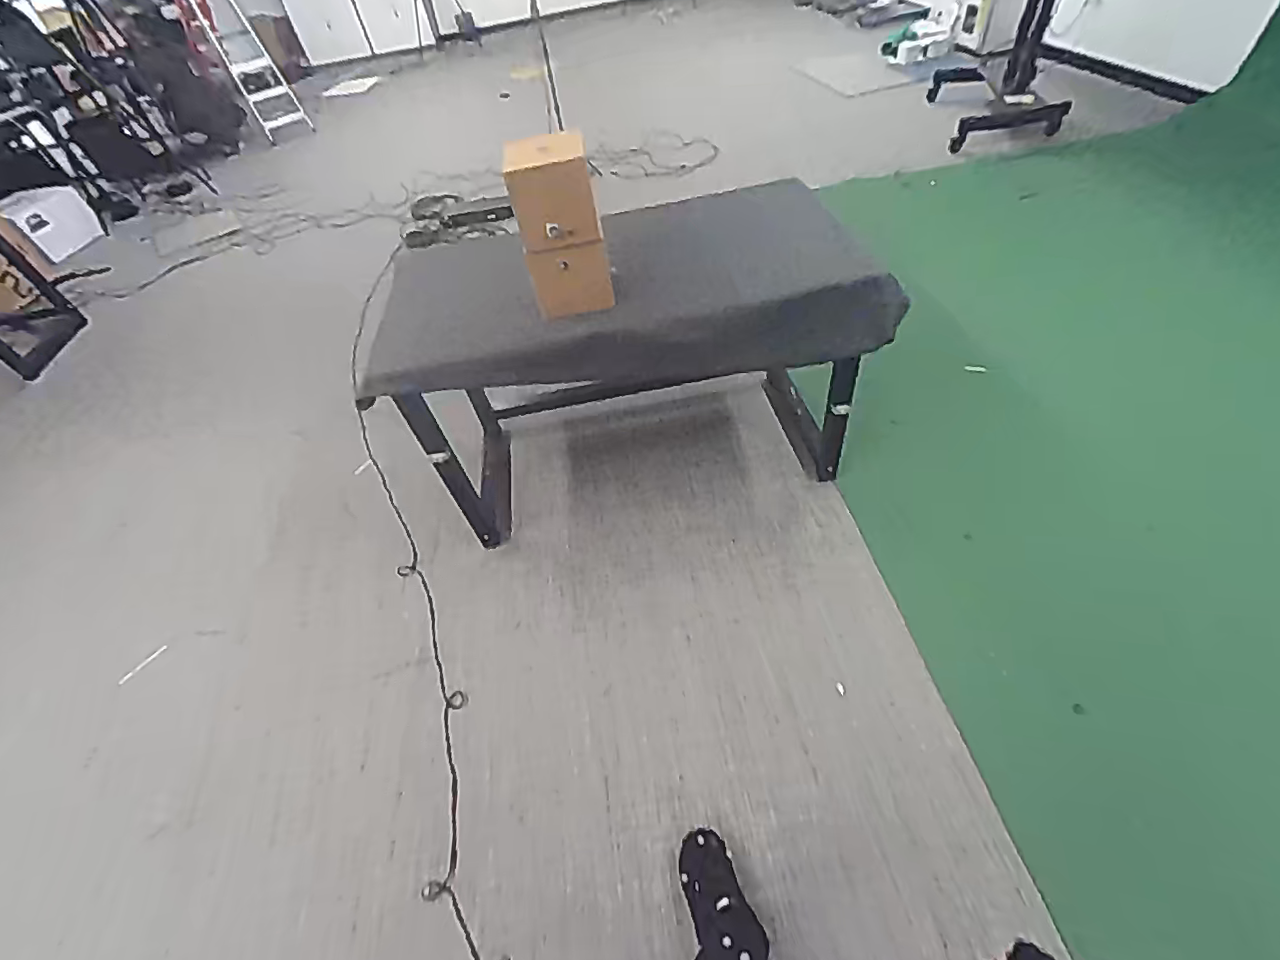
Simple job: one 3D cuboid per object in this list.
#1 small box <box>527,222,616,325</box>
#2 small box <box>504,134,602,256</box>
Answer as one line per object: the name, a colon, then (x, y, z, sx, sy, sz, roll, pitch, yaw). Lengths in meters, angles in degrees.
small box: (-0.161, -0.489, 1.288, 0.179, 0.176, 0.168, -9, 49, 0)
small box: (-0.181, -0.605, 1.154, 0.168, 0.176, 0.179, -12, 49, 1)
